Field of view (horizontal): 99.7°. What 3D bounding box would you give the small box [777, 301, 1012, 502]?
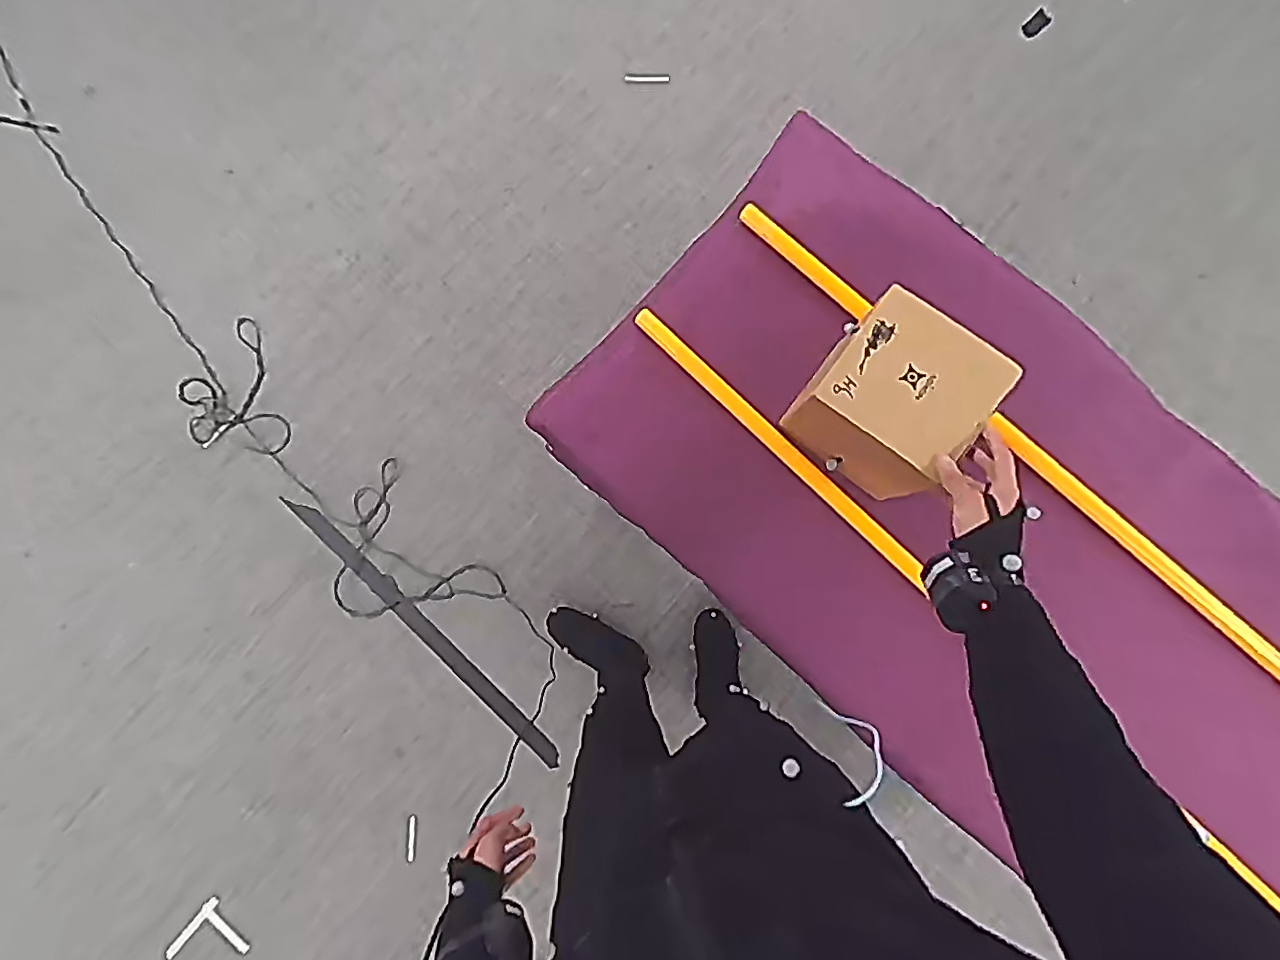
[{"bbox_3d":[0.304,-0.085,0.687,0.179,0.176,0.168,38,85,4],"label":"small box"}]
